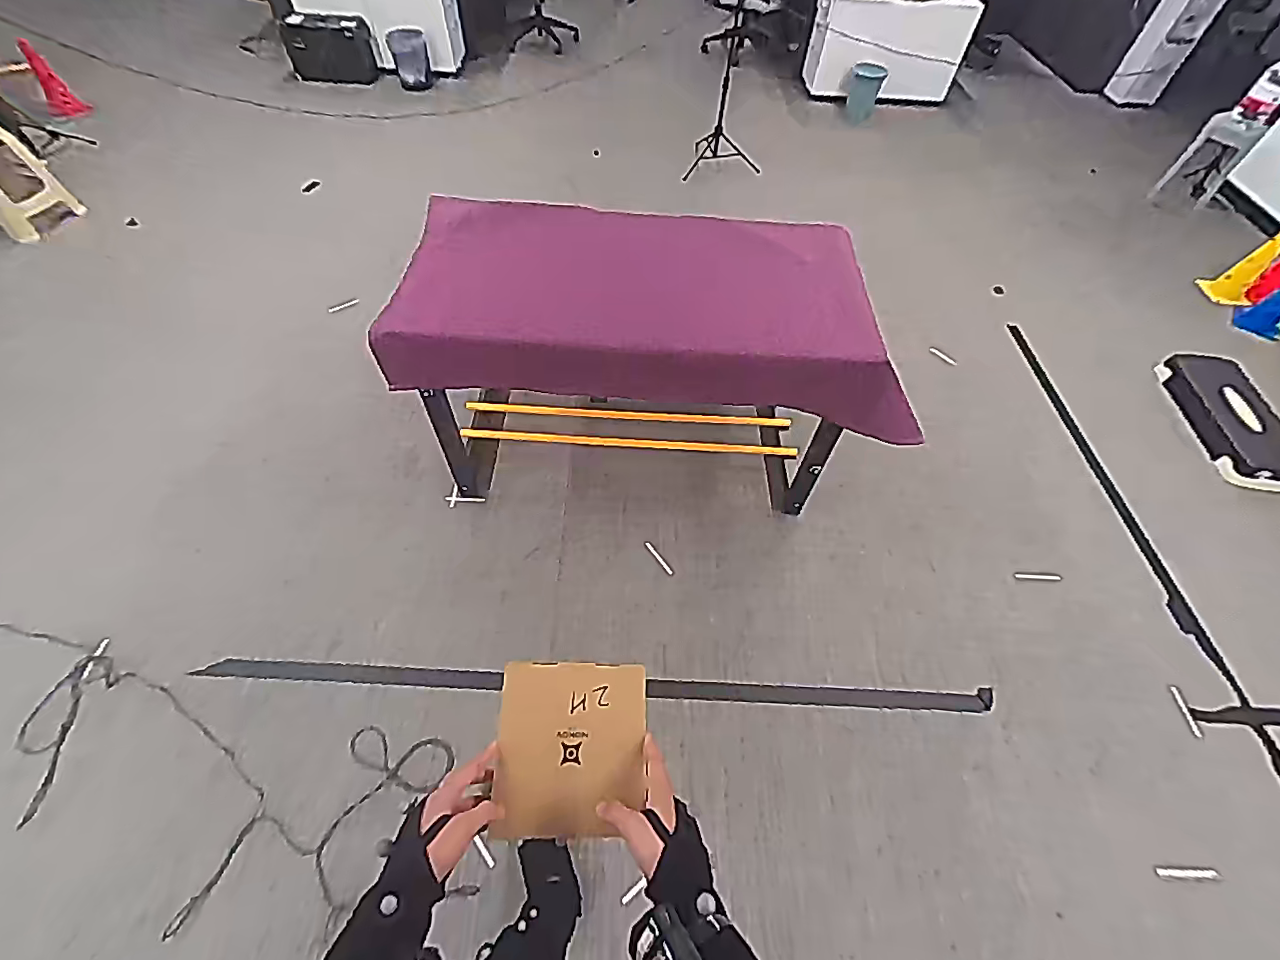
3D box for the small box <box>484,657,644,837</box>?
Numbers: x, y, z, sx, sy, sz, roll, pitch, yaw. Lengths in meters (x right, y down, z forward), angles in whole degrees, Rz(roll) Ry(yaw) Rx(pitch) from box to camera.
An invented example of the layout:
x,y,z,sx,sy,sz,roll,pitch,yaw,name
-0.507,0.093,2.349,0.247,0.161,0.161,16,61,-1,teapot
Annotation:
x,y,z,sx,sy,sz,roll,pitch,yaw,name
-0.087,0.324,0.664,0.168,0.176,0.179,4,62,-7,small box
